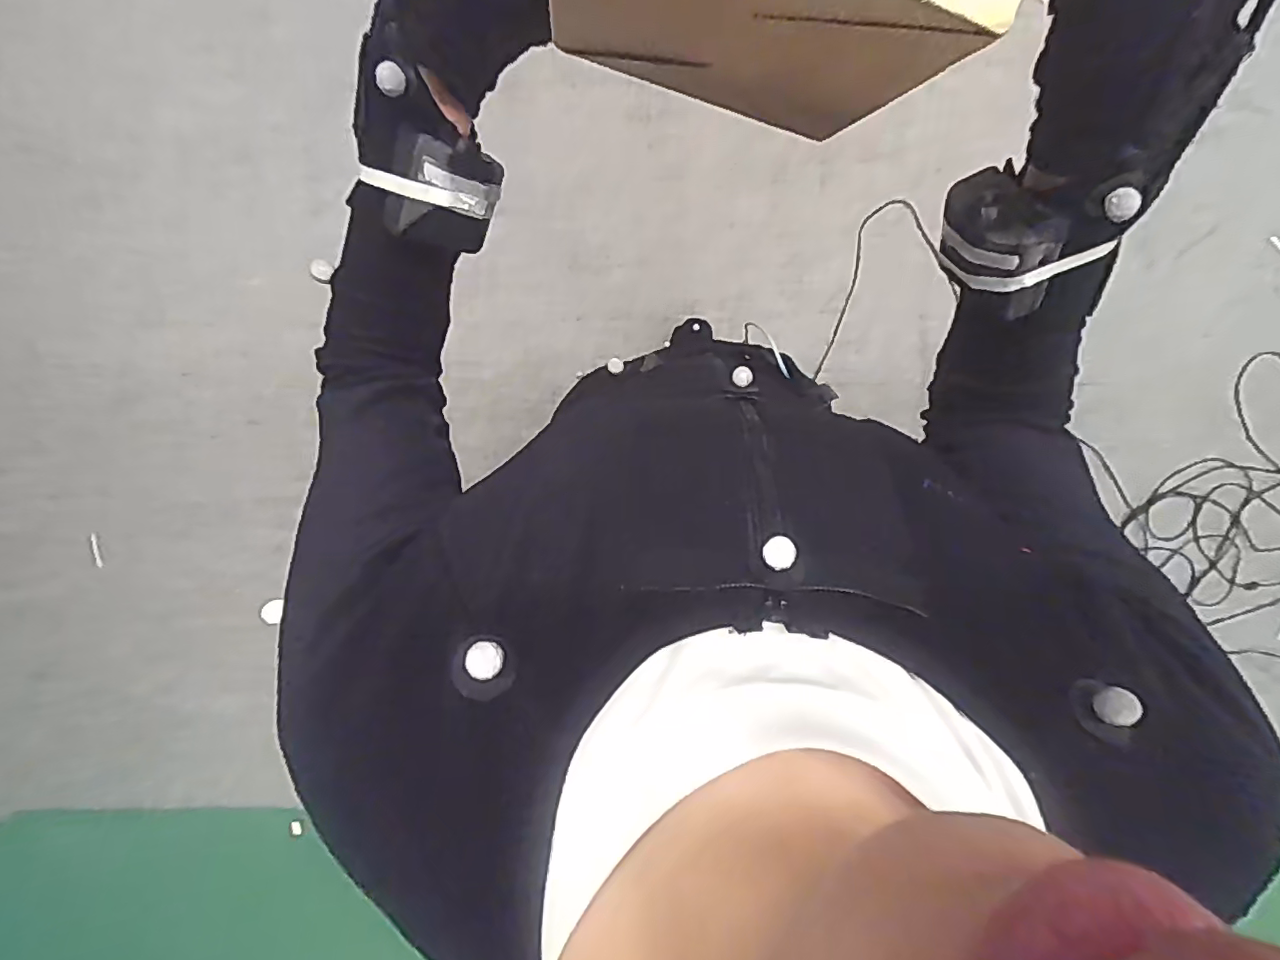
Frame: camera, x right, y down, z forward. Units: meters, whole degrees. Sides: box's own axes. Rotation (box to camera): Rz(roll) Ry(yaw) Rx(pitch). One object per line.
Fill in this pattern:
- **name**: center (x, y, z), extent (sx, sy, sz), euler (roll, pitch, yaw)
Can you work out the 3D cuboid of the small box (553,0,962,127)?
- **small box**: center (0.063, -0.291, 0.243), extent (0.179, 0.168, 0.176), euler (13, 107, -11)
